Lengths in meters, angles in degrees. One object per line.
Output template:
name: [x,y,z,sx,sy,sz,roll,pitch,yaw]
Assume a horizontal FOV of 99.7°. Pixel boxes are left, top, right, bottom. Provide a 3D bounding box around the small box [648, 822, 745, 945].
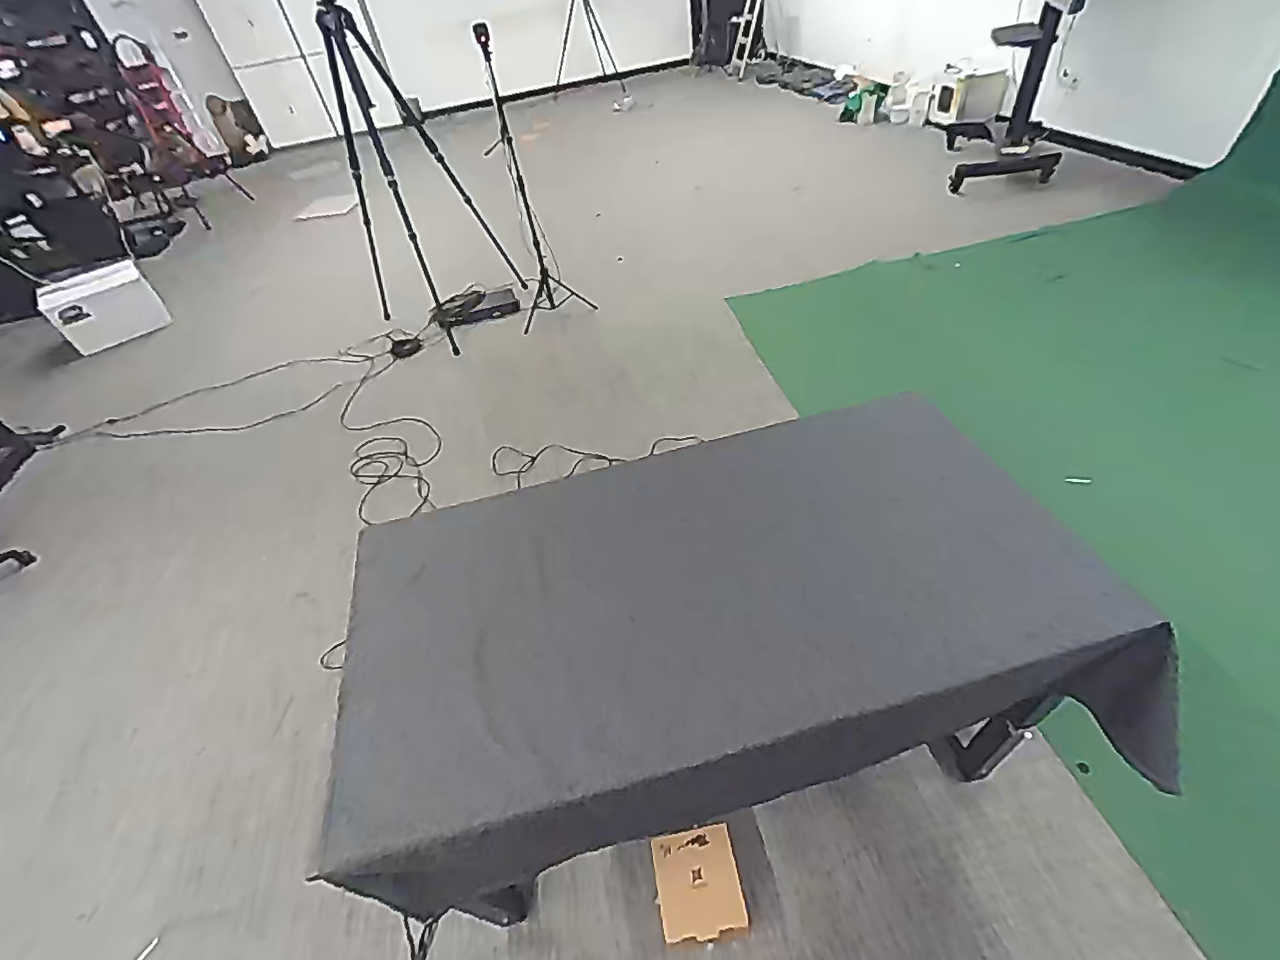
small box: [0.120,0.847,1.131,0.168,0.176,0.179,-12,45,-1]
